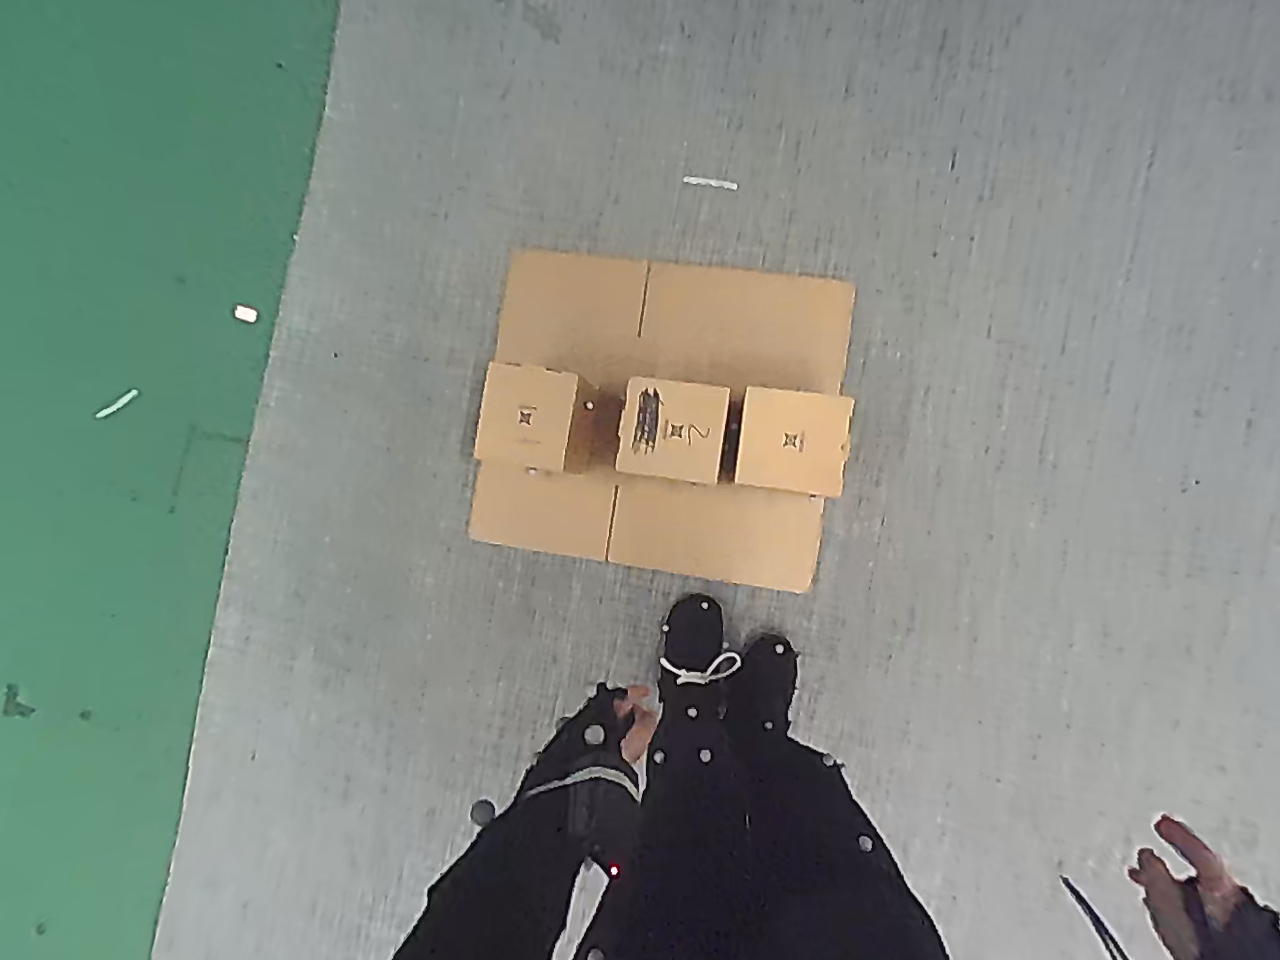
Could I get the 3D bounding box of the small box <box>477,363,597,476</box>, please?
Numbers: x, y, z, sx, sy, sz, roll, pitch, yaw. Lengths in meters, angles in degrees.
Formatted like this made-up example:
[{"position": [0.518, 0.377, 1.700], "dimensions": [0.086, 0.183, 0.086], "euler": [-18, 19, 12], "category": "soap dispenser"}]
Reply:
[{"position": [-0.184, -0.106, 1.017], "dimensions": [0.168, 0.176, 0.179], "euler": [9, 91, 7], "category": "small box"}]
